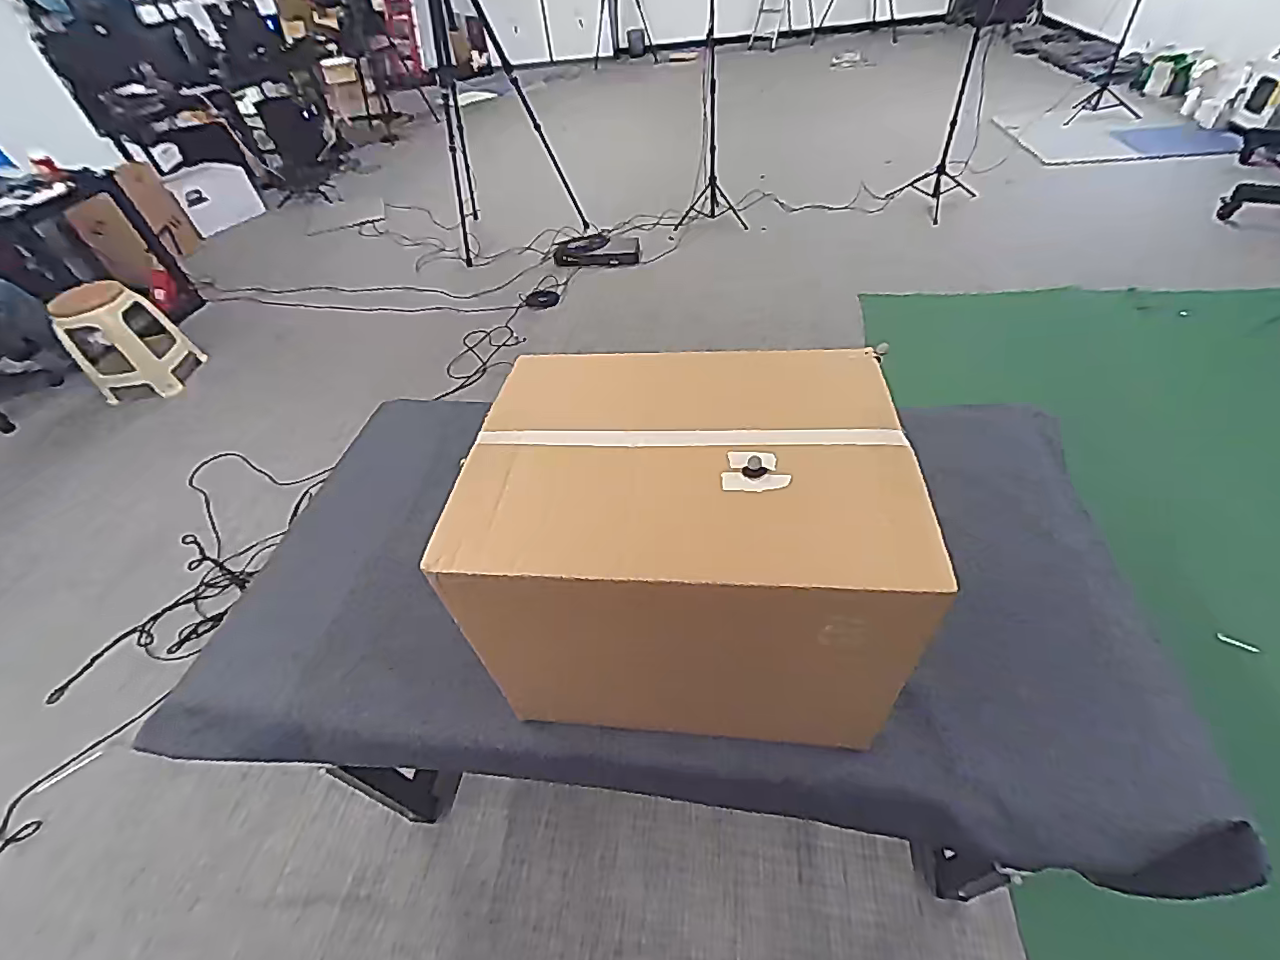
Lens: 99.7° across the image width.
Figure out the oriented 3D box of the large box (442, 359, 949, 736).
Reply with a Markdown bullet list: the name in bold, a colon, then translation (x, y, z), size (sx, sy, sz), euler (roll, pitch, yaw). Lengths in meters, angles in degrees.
- **large box**: translation (0.056, 0.074, 0.627), size (0.408, 0.320, 0.320), euler (1, 46, 7)
